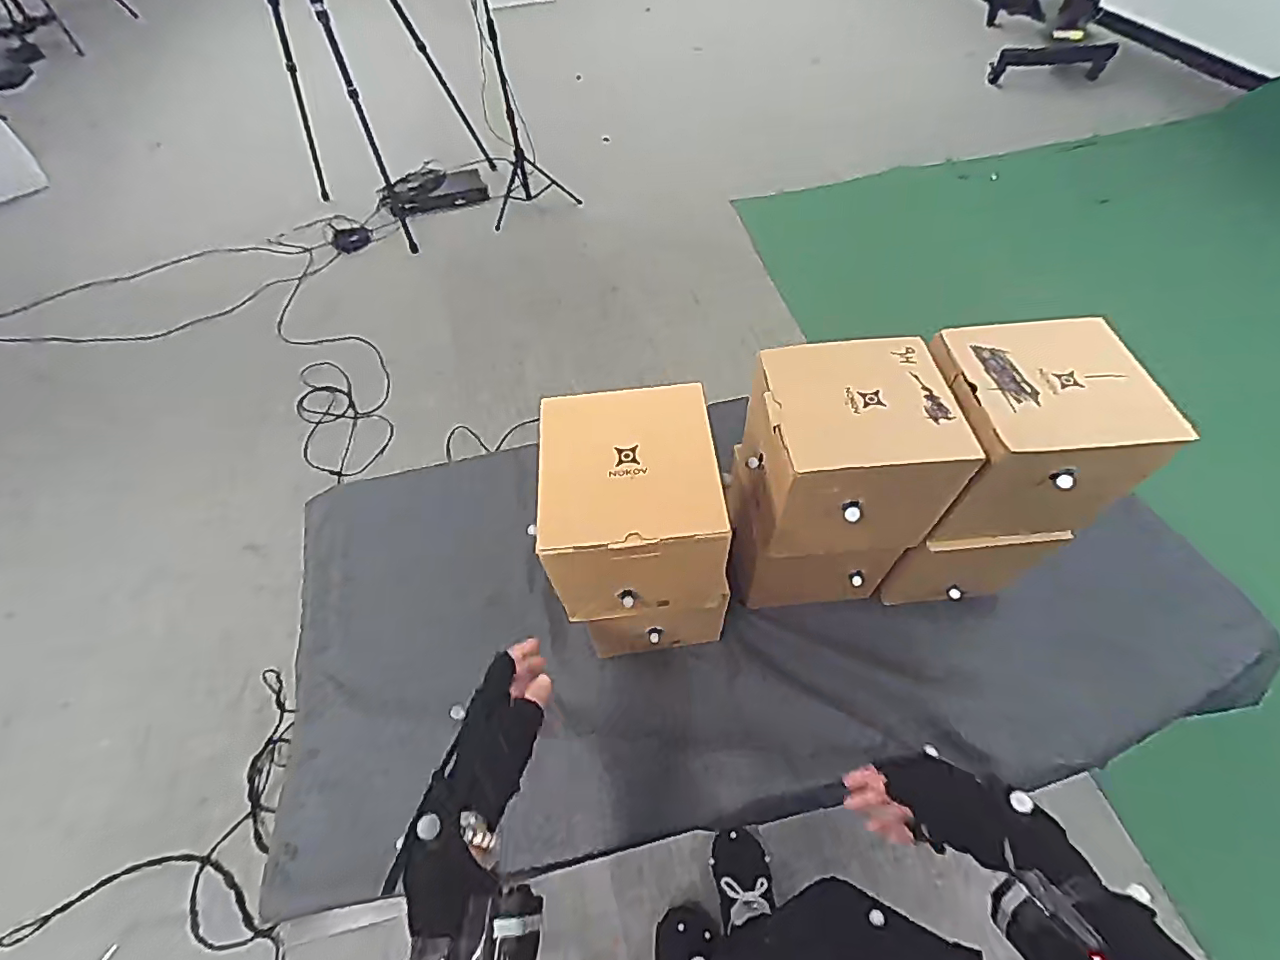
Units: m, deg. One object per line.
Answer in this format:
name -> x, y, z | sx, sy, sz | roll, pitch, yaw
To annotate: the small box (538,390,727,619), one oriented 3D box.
small box -> -0.009, 0.030, 0.572 | 0.168, 0.176, 0.179 | -6, 57, 0
